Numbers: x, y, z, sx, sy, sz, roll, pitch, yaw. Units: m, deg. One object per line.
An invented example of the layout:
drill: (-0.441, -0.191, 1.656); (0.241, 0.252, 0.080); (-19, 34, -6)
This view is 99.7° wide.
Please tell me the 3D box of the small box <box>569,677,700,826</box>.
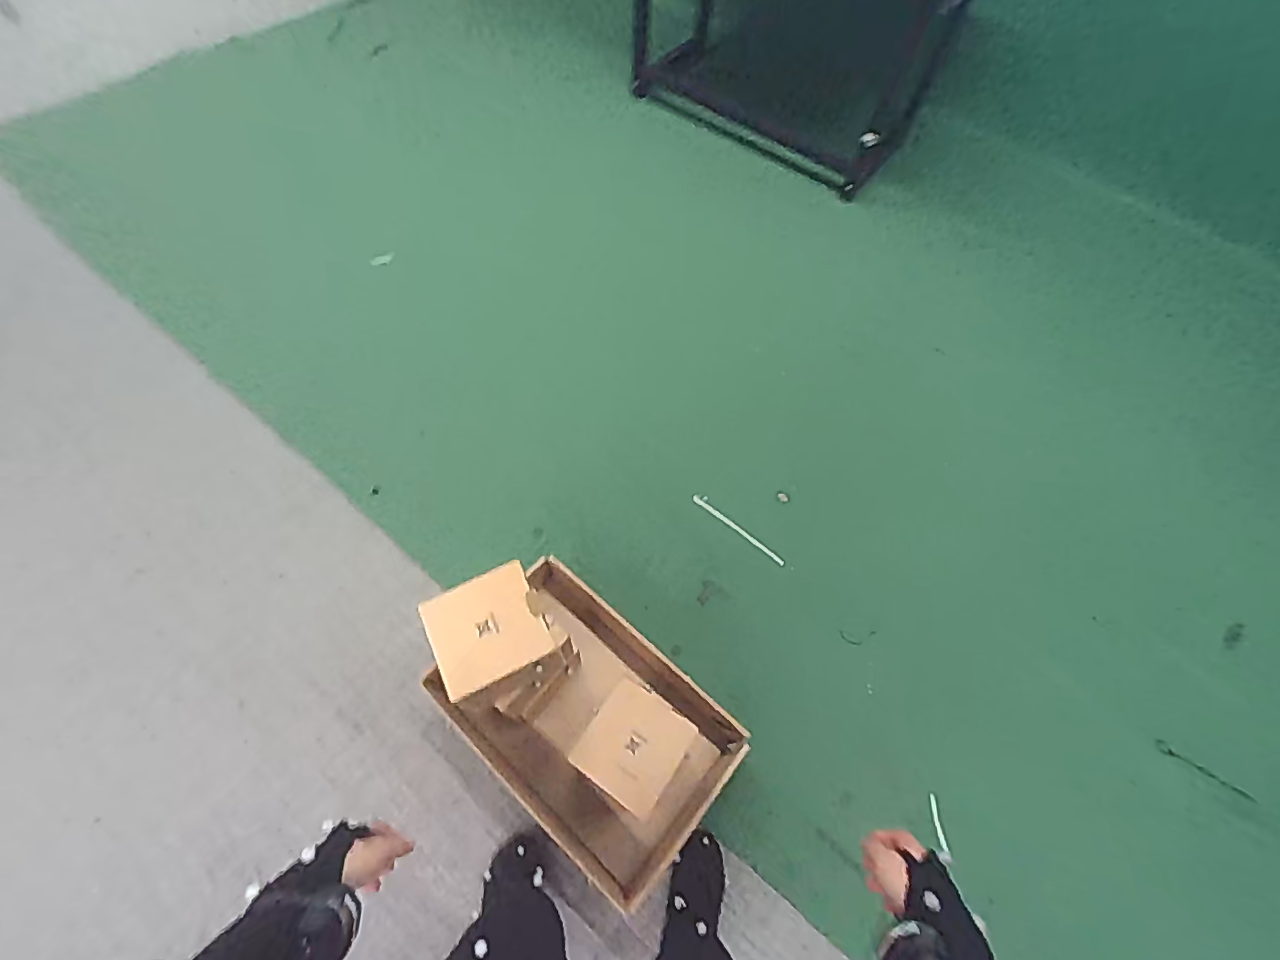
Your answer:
small box: (-0.011, 0.498, 1.002); (0.168, 0.176, 0.179); (32, 67, 15)

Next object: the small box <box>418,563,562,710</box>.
small box: (-0.246, 0.272, 0.920); (0.179, 0.176, 0.168); (-24, 67, -16)

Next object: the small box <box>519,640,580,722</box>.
small box: (-0.251, 0.414, 1.214); (0.168, 0.176, 0.179); (37, 65, 15)

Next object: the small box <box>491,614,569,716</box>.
small box: (-0.252, 0.342, 1.068); (0.168, 0.176, 0.179); (38, 66, 15)
